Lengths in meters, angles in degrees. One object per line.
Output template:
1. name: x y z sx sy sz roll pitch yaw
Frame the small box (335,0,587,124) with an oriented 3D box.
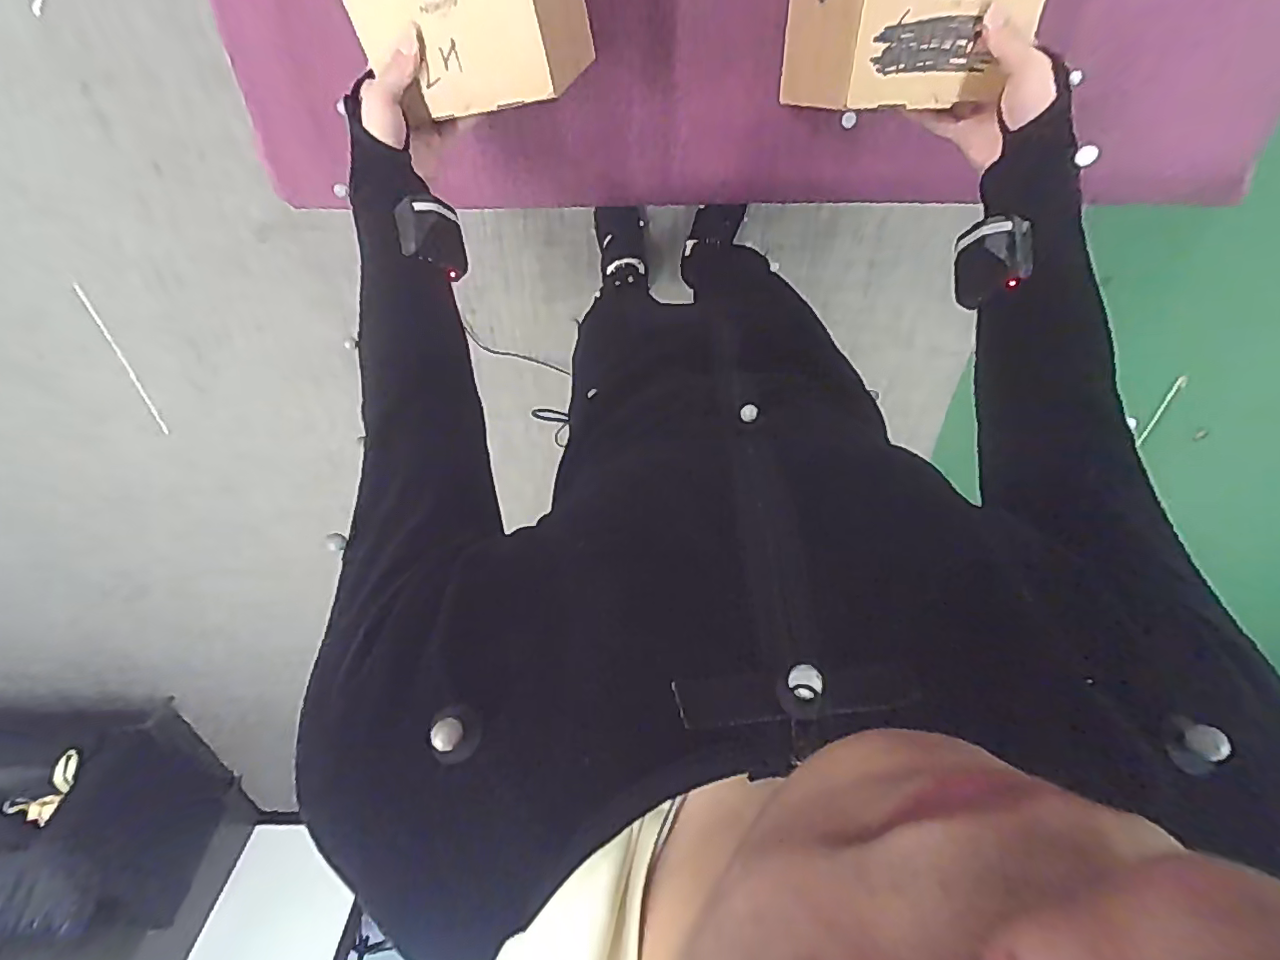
1. small box: -0.158 -0.452 0.483 0.168 0.176 0.179 0 137 14

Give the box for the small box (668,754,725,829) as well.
1. small box: 0.198 1.108 1.926 0.168 0.176 0.179 8 126 -4
